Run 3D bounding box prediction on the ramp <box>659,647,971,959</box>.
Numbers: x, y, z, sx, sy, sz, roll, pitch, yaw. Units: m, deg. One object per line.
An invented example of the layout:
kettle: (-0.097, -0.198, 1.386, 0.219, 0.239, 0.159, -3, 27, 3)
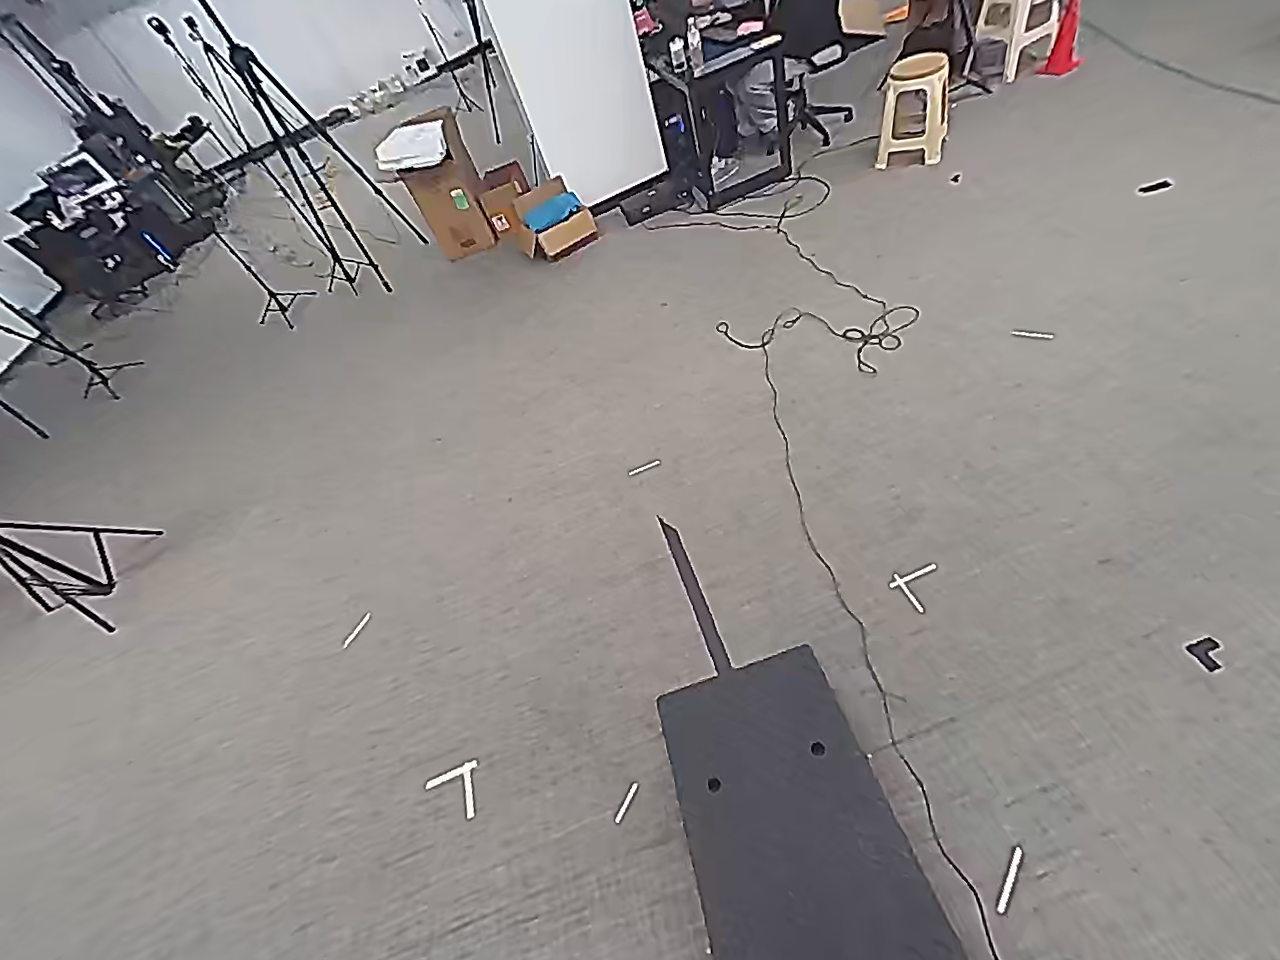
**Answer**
ramp: (0.366, 0.873, 1.235, 0.509, 0.206, 0.991, -23, 47, 3)
